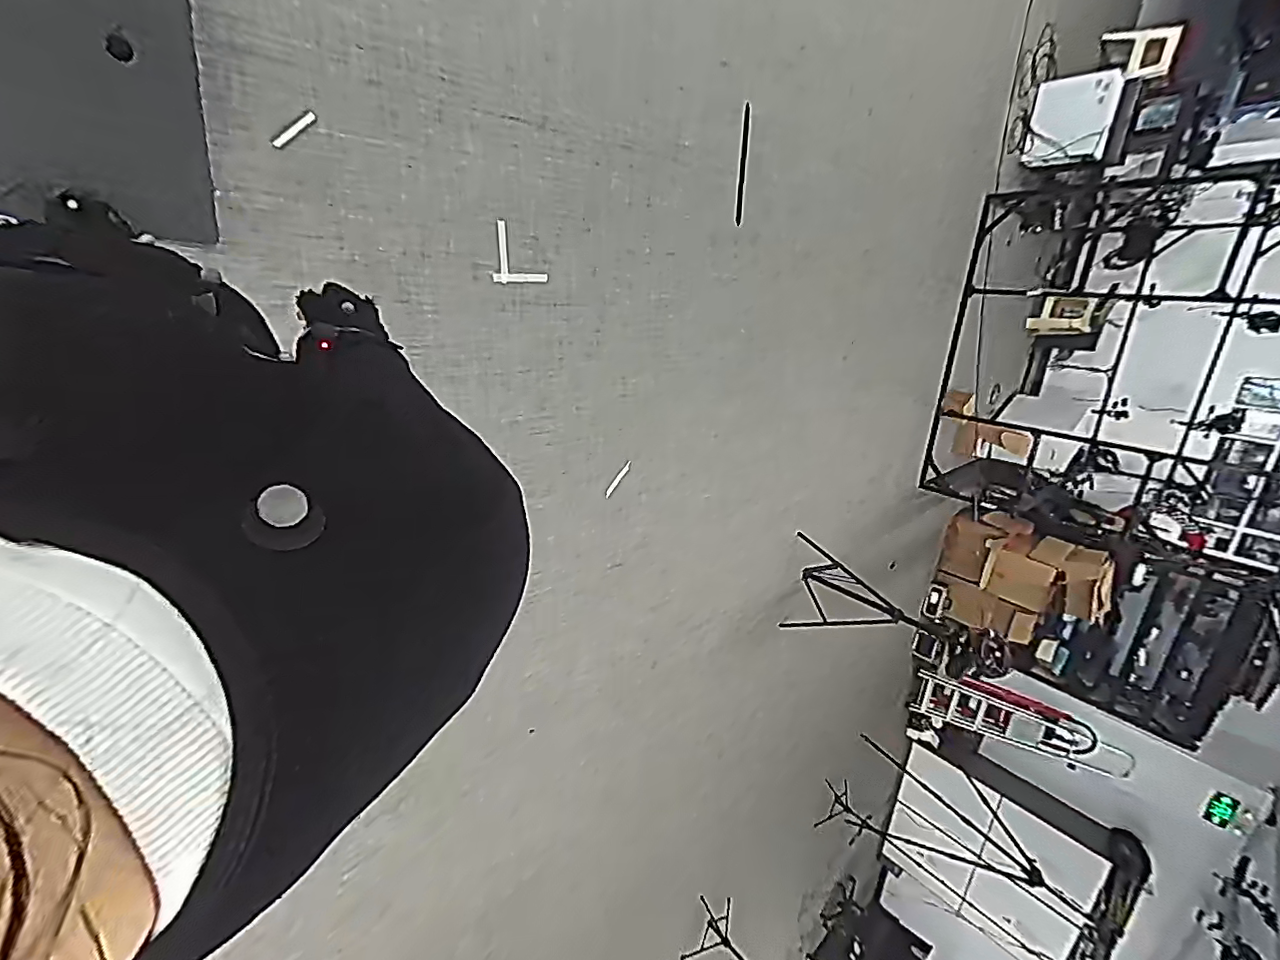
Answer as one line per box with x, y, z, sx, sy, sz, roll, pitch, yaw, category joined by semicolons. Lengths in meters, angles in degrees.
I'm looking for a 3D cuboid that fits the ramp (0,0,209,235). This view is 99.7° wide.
-0.938;-0.890;0.712;0.509;0.206;0.991;-14;116;-41;ramp
